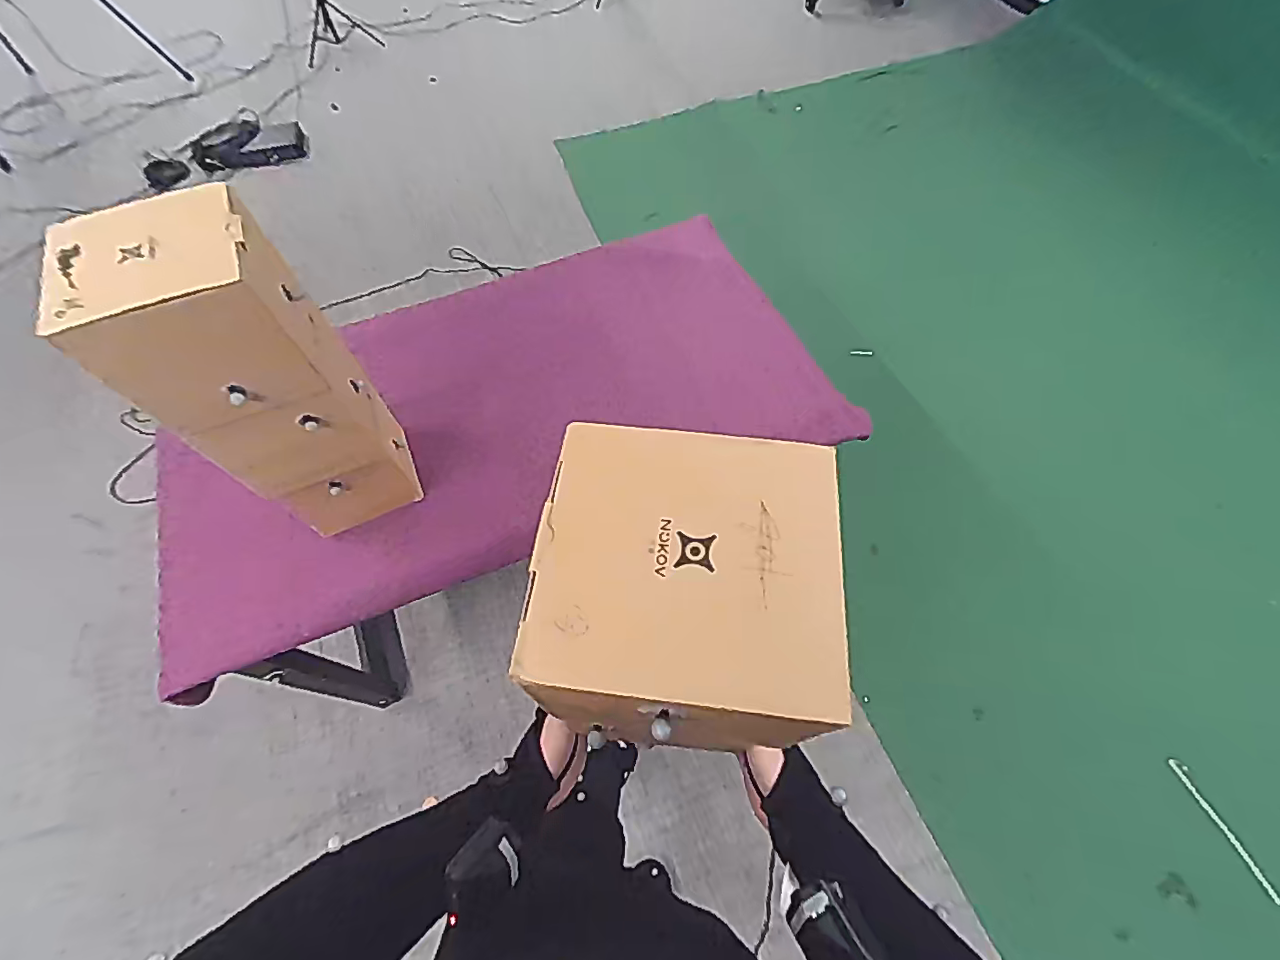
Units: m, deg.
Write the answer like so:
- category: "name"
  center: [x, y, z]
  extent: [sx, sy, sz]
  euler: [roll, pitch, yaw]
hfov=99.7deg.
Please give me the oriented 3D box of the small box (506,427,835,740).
- category: "small box"
  center: [0.027, 0.082, 0.388]
  extent: [0.179, 0.176, 0.168]
  euler: [6, 61, 5]

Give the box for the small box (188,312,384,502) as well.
- category: "small box"
  center: [-0.480, -0.096, 0.755]
  extent: [0.179, 0.176, 0.168]
  euler: [-22, 63, -9]

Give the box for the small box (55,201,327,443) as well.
- category: "small box"
  center: [-0.482, -0.171, 0.609]
  extent: [0.179, 0.176, 0.168]
  euler: [-22, 63, -11]

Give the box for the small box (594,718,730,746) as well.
- category: "small box"
  center: [0.035, 0.232, 0.679]
  extent: [0.179, 0.176, 0.168]
  euler: [4, 60, 4]

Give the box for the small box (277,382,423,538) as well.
- category: "small box"
  center: [-0.485, -0.028, 0.906]
  extent: [0.179, 0.176, 0.168]
  euler: [-23, 64, -10]
